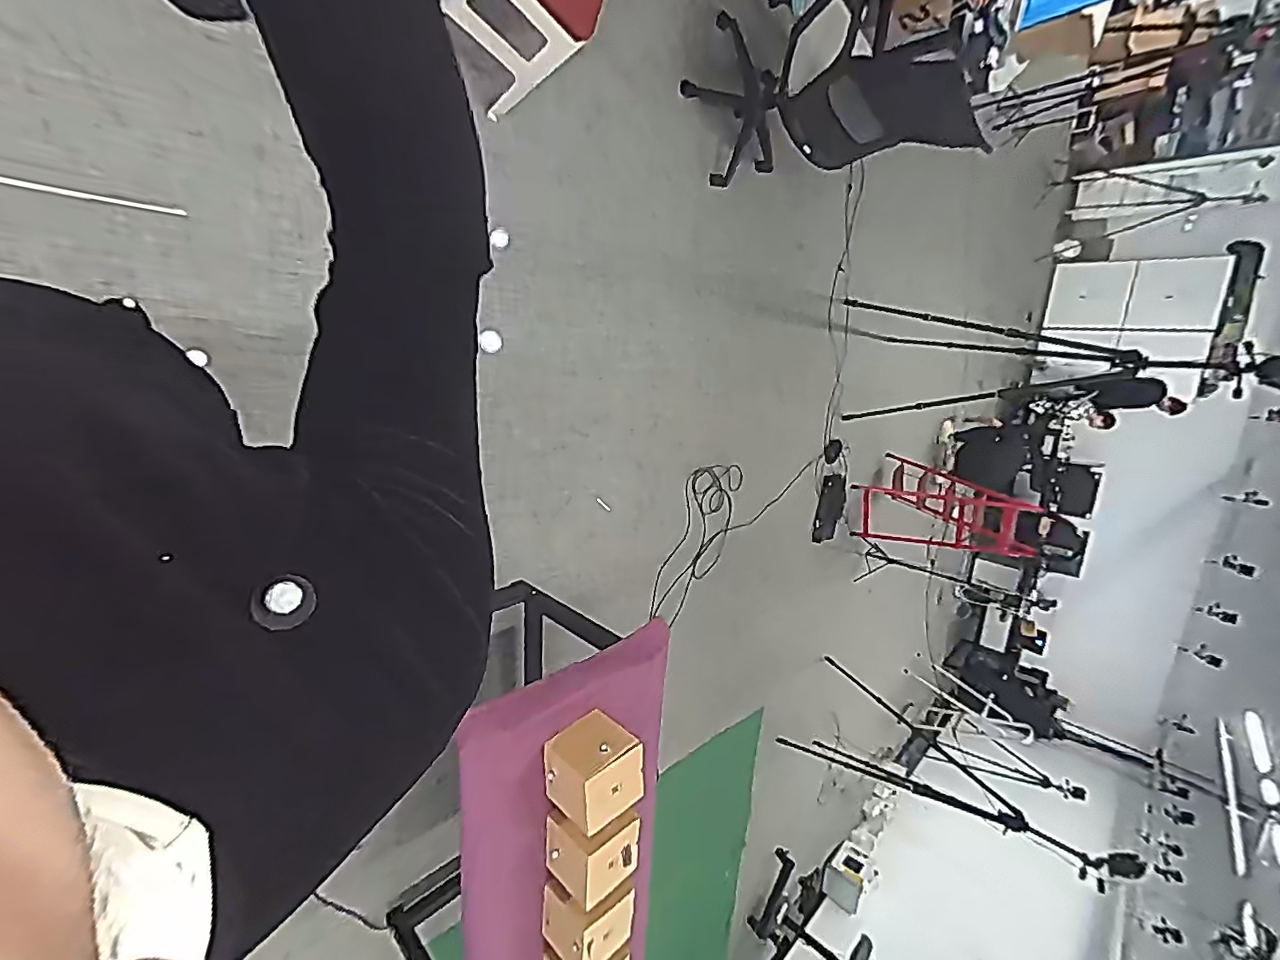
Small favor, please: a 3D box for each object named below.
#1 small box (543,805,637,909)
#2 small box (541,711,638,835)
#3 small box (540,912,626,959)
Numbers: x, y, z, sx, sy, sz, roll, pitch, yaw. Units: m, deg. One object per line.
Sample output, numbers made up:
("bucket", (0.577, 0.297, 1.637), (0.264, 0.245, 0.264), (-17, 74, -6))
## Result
("small box", (-0.130, 0.928, 1.394), (0.179, 0.176, 0.168), (-10, 109, -43))
("small box", (-0.123, 0.709, 1.335), (0.179, 0.176, 0.168), (-16, 113, -42))
("small box", (-0.161, 1.363, 1.494), (0.179, 0.176, 0.168), (-8, 107, -44))
